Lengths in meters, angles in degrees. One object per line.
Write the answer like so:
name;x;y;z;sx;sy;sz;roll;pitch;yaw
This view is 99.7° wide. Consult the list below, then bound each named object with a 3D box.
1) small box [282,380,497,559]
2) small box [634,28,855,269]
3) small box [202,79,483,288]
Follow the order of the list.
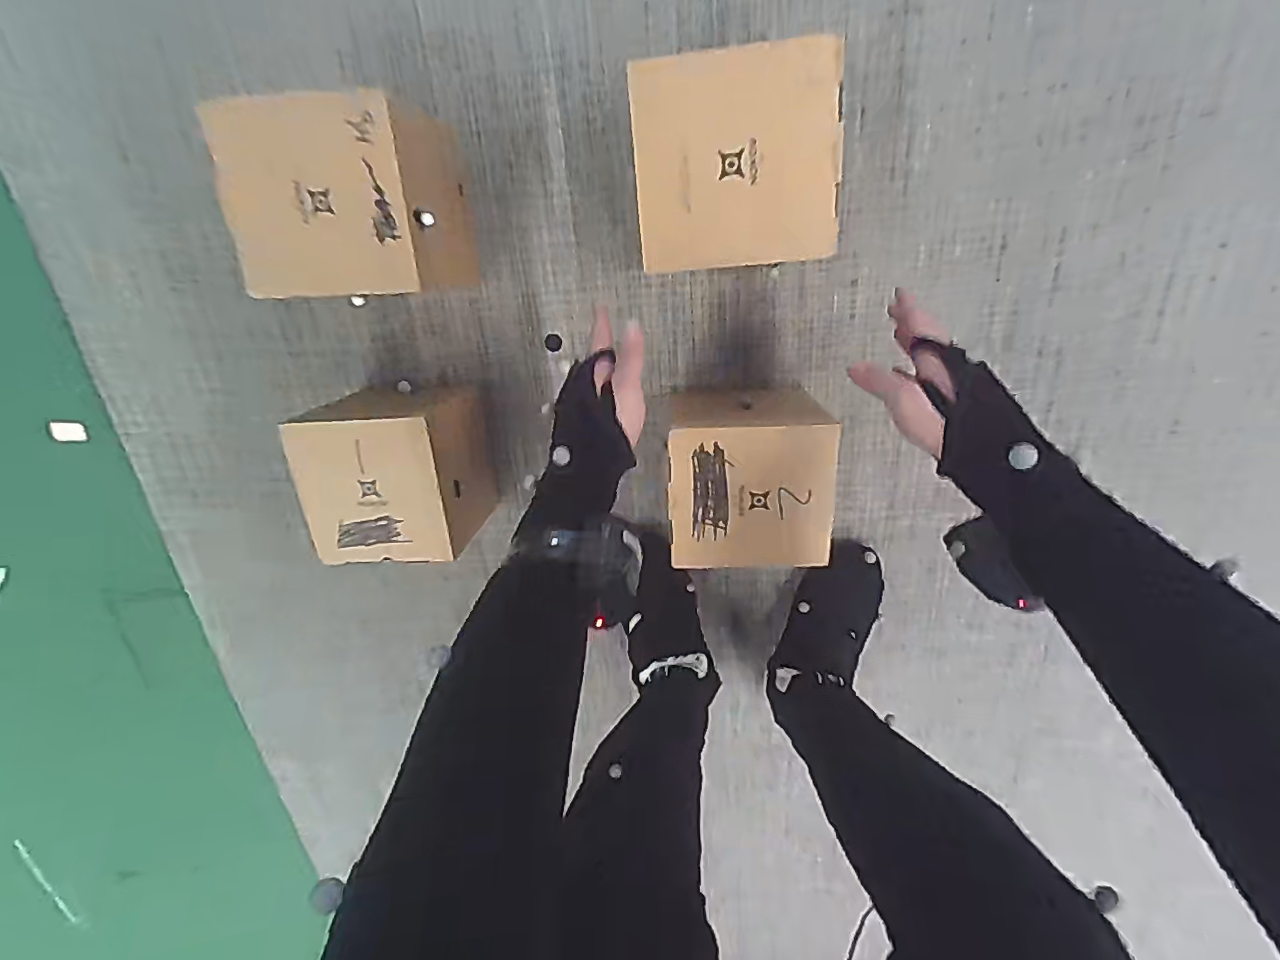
small box;-0.288;-0.019;0.668;0.168;0.176;0.179;-2;111;5
small box;0.091;-0.301;0.528;0.179;0.176;0.168;-3;111;6
small box;-0.284;-0.288;0.561;0.179;0.176;0.168;0;112;5
